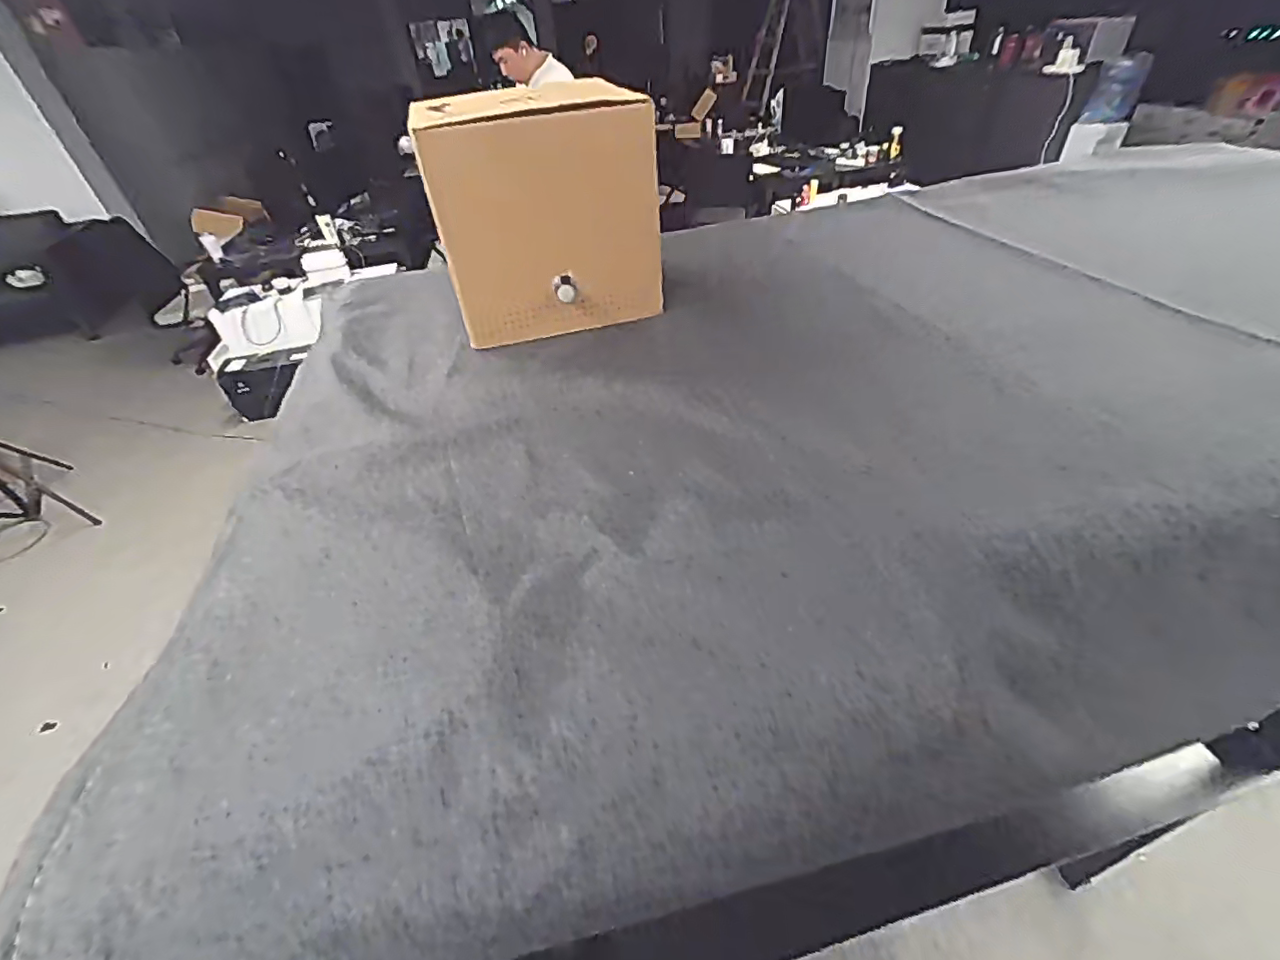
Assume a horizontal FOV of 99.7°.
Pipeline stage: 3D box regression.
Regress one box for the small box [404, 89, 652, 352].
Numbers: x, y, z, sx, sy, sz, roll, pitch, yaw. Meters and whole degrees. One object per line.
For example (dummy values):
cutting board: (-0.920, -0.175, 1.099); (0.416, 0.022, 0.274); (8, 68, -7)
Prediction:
small box: (-0.093, -0.235, 0.487); (0.179, 0.176, 0.168); (-14, 41, -11)
